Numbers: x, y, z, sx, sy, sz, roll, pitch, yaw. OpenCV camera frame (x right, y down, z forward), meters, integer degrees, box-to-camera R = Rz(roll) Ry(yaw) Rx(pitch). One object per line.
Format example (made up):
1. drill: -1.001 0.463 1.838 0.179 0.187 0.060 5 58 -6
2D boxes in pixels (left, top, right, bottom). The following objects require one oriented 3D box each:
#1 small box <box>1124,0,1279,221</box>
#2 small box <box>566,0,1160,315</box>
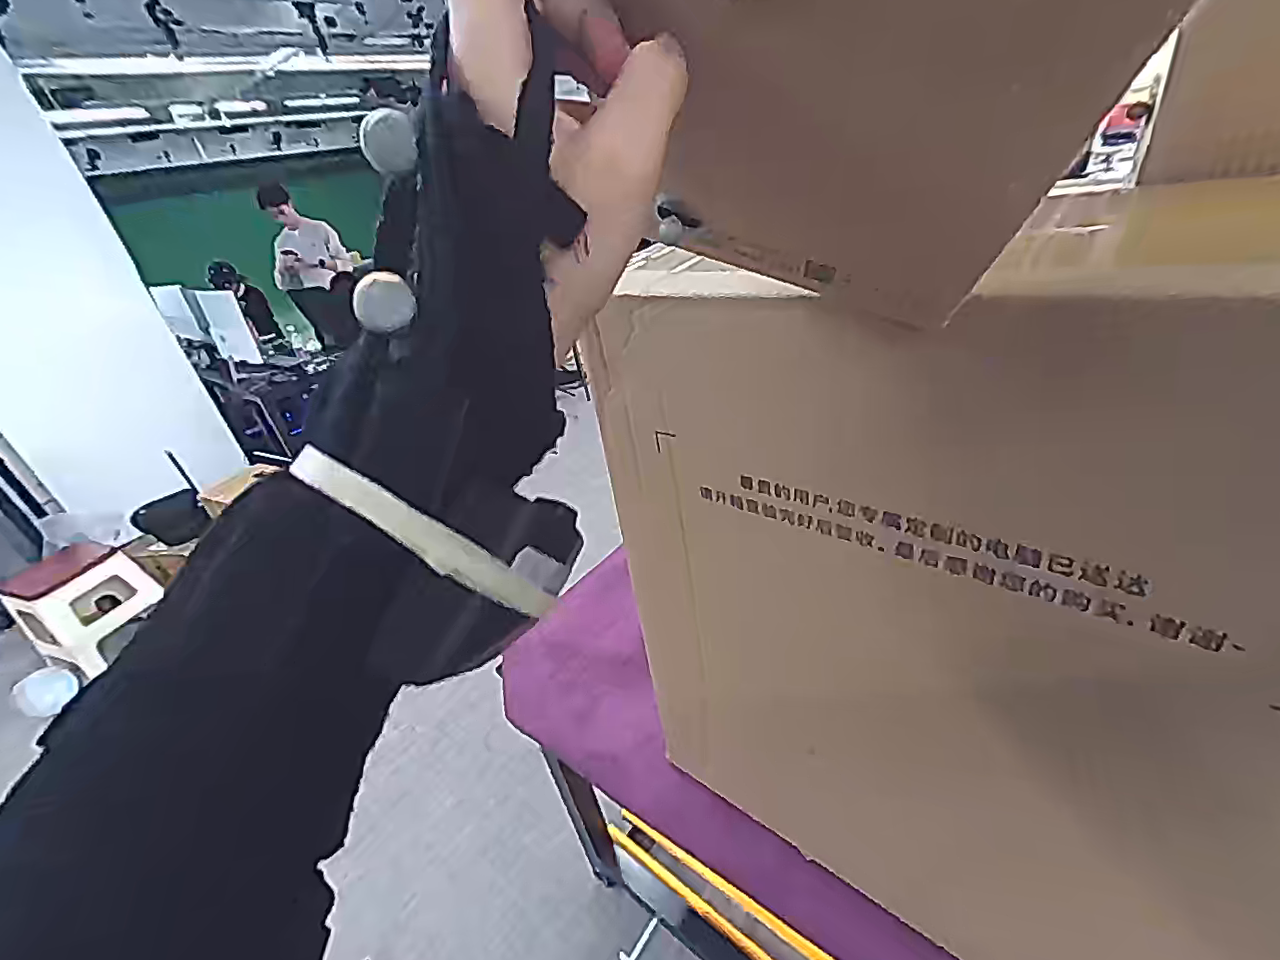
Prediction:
1. small box: 0.421 -0.265 0.317 0.179 0.176 0.168 11 36 35
2. small box: 0.089 -0.193 0.204 0.168 0.176 0.179 24 84 14
